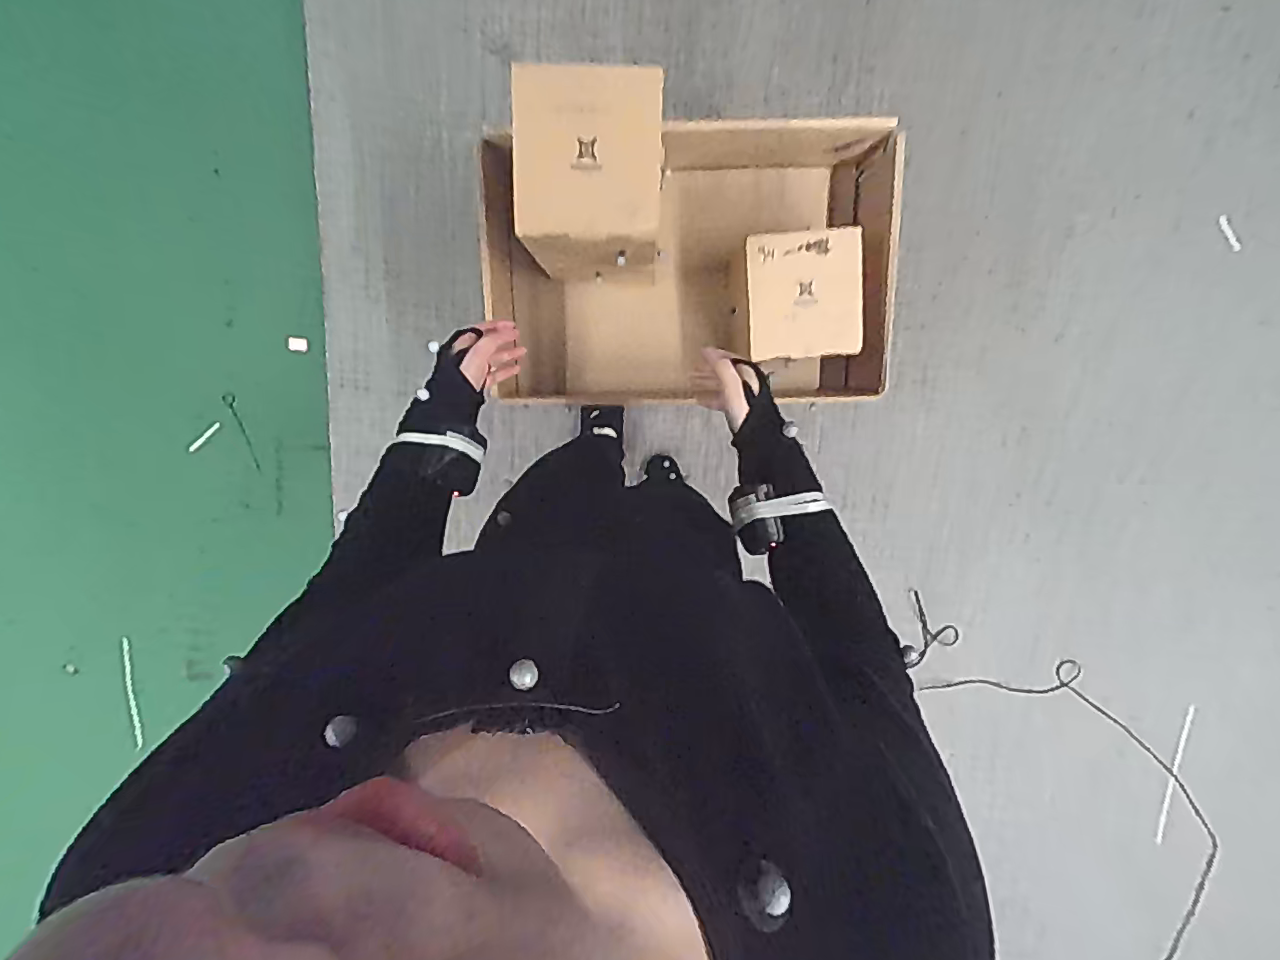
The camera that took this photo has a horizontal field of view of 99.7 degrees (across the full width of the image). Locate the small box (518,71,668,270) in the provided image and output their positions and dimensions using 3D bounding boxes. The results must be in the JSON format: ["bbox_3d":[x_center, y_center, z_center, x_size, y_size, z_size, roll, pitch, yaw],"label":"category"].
[{"bbox_3d":[-0.055,-0.370,0.681,0.168,0.176,0.179,2,100,-1],"label":"small box"}]
